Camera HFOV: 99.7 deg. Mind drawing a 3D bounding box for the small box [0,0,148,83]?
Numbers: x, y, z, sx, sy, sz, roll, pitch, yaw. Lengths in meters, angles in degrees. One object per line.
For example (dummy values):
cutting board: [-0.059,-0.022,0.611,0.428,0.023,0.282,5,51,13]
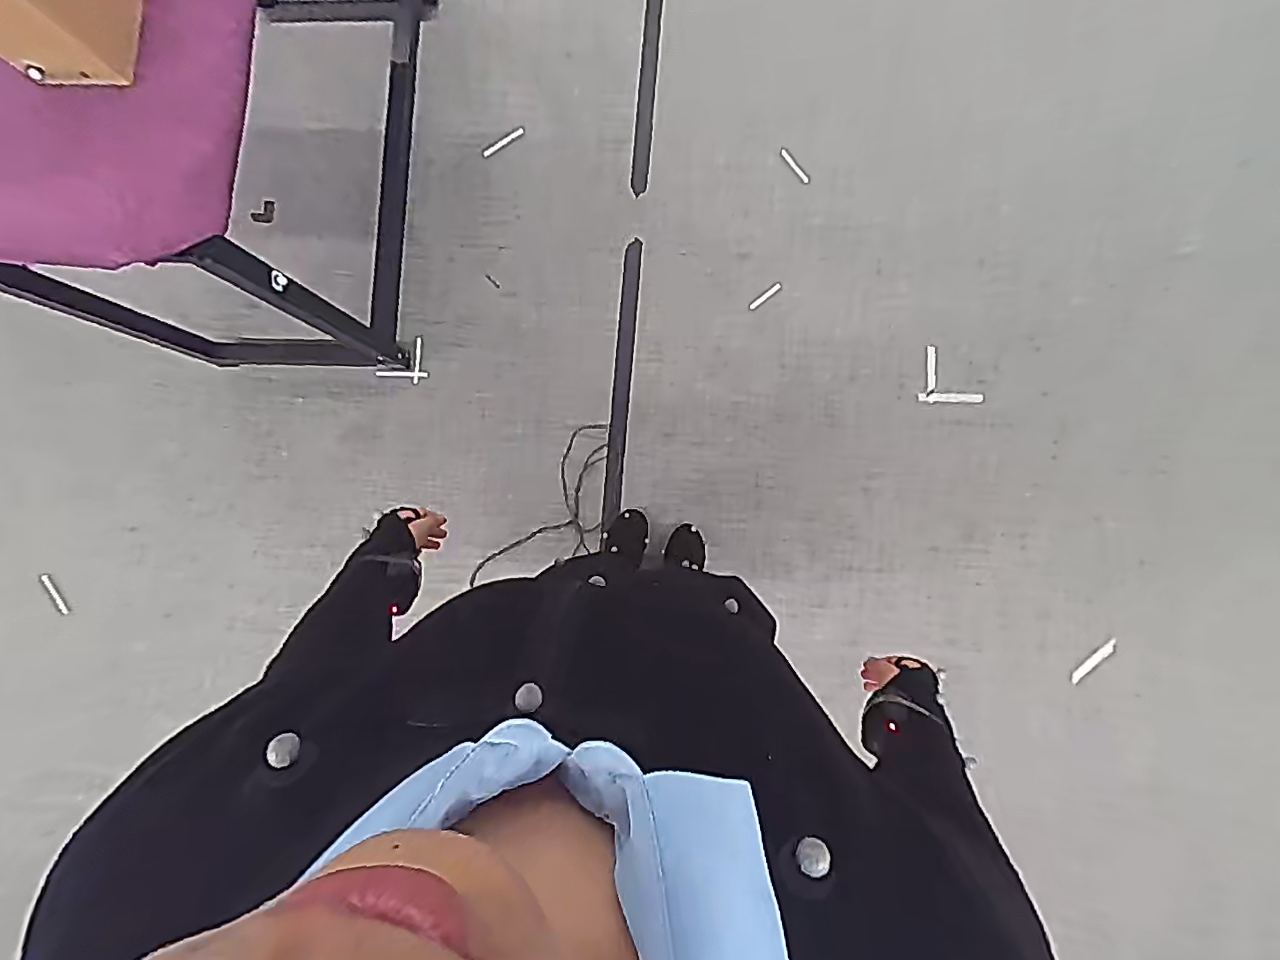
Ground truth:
small box: [-0.888,-0.731,0.800,0.168,0.176,0.179,3,85,3]
